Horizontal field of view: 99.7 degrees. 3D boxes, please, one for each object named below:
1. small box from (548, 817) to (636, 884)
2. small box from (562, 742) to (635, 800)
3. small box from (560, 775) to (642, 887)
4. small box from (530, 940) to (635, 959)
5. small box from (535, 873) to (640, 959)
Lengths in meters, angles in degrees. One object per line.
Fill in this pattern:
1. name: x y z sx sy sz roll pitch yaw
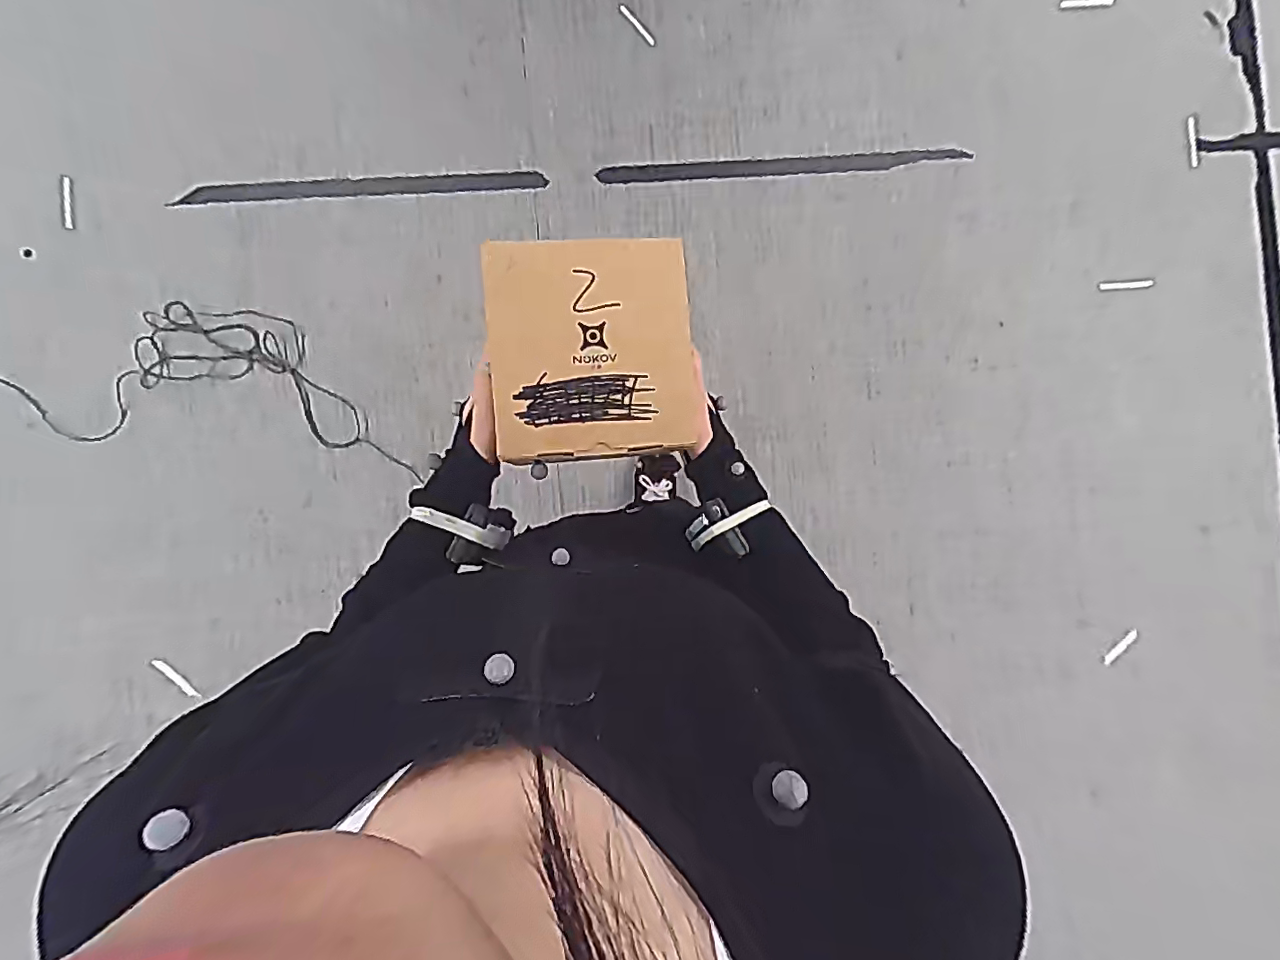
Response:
1. small box: -0.092 0.804 1.081 0.168 0.176 0.179 -3 89 -2
2. small box: -0.101 0.807 1.408 0.179 0.176 0.168 -4 89 -2
3. small box: -0.089 0.802 1.244 0.179 0.176 0.168 -2 89 -2
4. small box: -0.080 0.803 0.754 0.168 0.176 0.179 -5 89 -3
5. small box: -0.083 0.804 0.916 0.168 0.176 0.179 -3 90 -2
